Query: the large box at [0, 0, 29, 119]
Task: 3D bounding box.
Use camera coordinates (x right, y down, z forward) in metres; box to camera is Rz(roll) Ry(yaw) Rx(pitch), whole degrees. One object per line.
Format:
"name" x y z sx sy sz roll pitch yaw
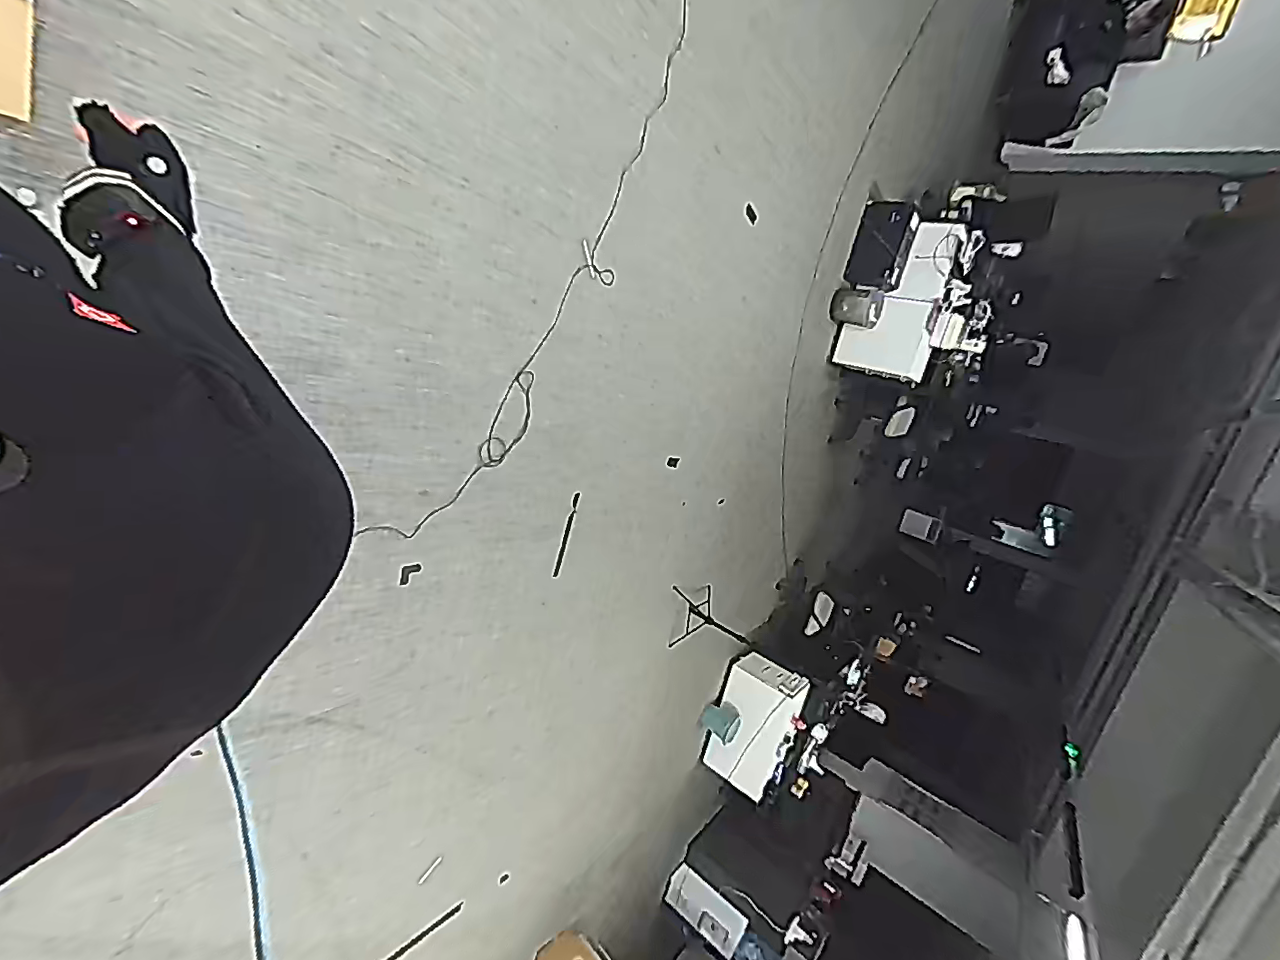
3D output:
"large box" -1.031 -0.679 0.623 0.408 0.320 0.320 -2 111 -55
